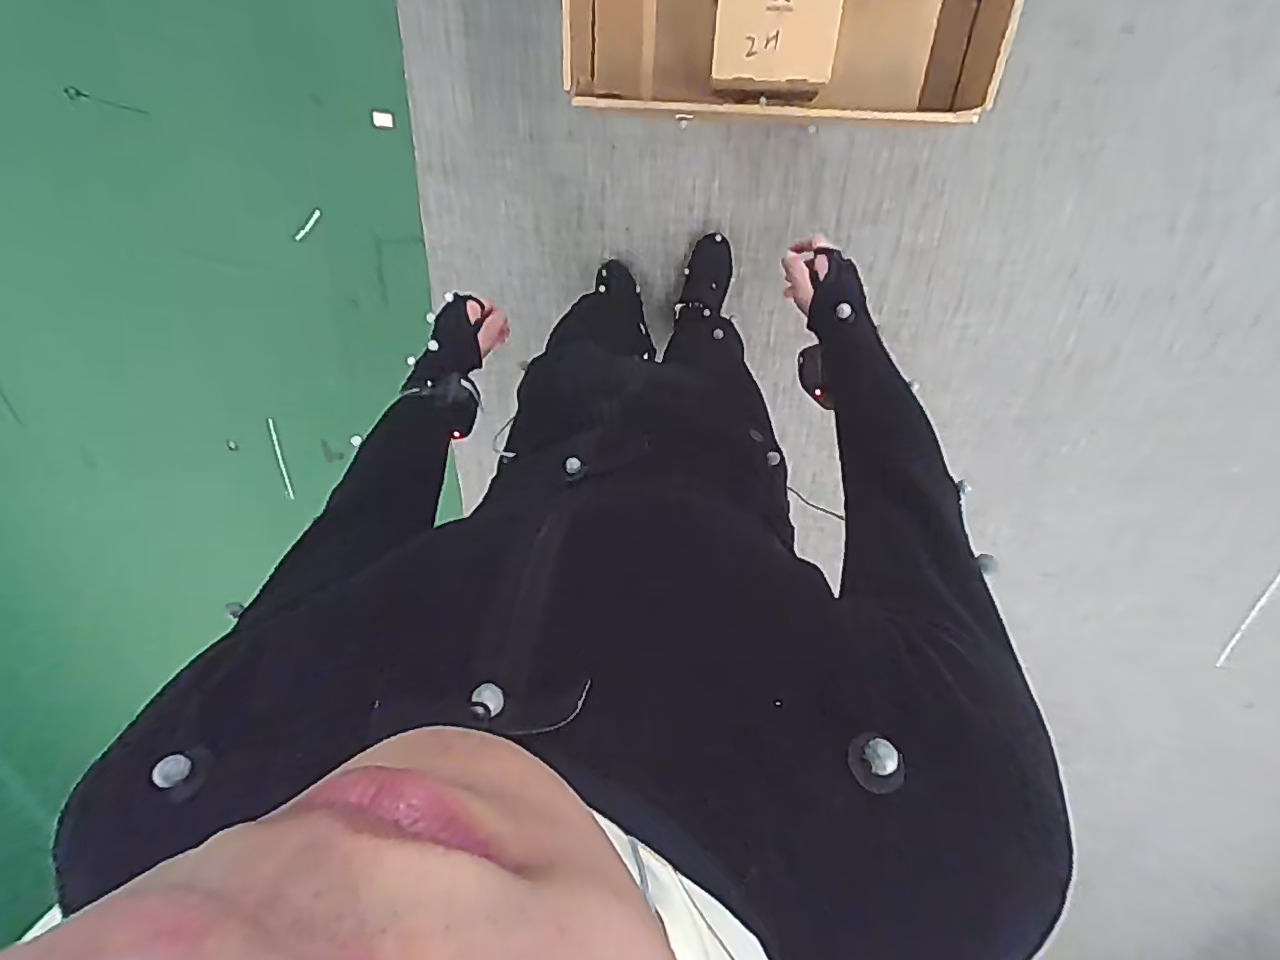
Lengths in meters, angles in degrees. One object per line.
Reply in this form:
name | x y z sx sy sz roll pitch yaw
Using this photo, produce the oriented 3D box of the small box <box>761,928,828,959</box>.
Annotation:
small box | 0.418 1.348 1.453 0.168 0.176 0.179 2 119 8
